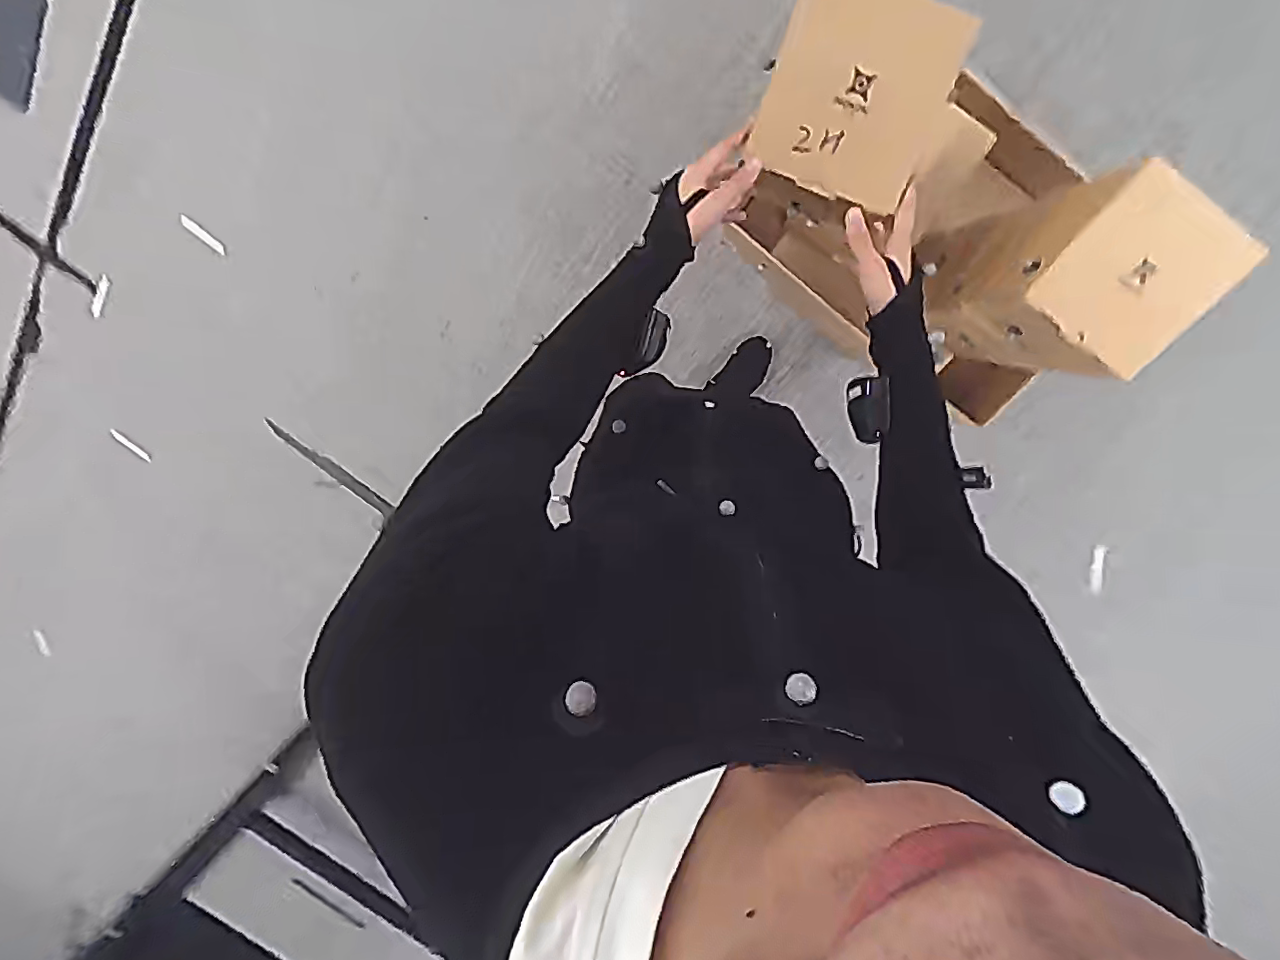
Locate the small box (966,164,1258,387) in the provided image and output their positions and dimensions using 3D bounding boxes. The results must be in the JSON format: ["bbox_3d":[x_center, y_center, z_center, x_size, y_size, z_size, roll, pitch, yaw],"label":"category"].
[{"bbox_3d":[0.554,-0.242,0.669,0.168,0.176,0.179,37,109,-4],"label":"small box"}]

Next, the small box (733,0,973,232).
[{"bbox_3d":[0.208,-0.393,0.593,0.168,0.176,0.179,20,111,-1],"label":"small box"}]

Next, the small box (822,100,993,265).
[{"bbox_3d":[0.363,-0.446,0.808,0.168,0.176,0.179,35,106,-4],"label":"small box"}]
